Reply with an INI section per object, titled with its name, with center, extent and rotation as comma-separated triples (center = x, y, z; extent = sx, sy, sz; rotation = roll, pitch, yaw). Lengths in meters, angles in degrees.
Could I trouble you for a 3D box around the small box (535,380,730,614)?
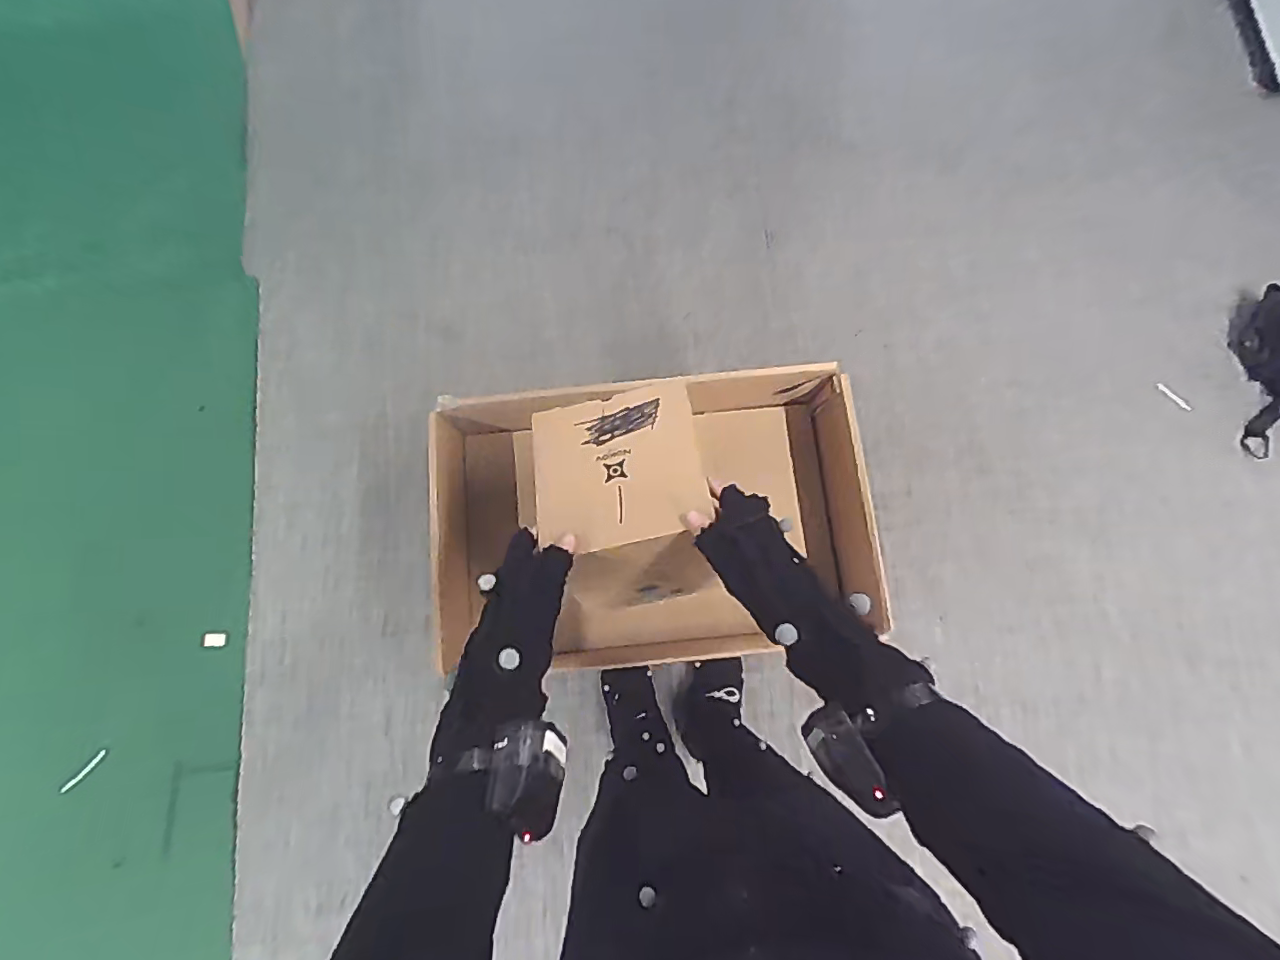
[small box]
center = -0.005, 0.026, 0.588
extent = 0.168, 0.176, 0.179
rotation = -14, 58, 7
